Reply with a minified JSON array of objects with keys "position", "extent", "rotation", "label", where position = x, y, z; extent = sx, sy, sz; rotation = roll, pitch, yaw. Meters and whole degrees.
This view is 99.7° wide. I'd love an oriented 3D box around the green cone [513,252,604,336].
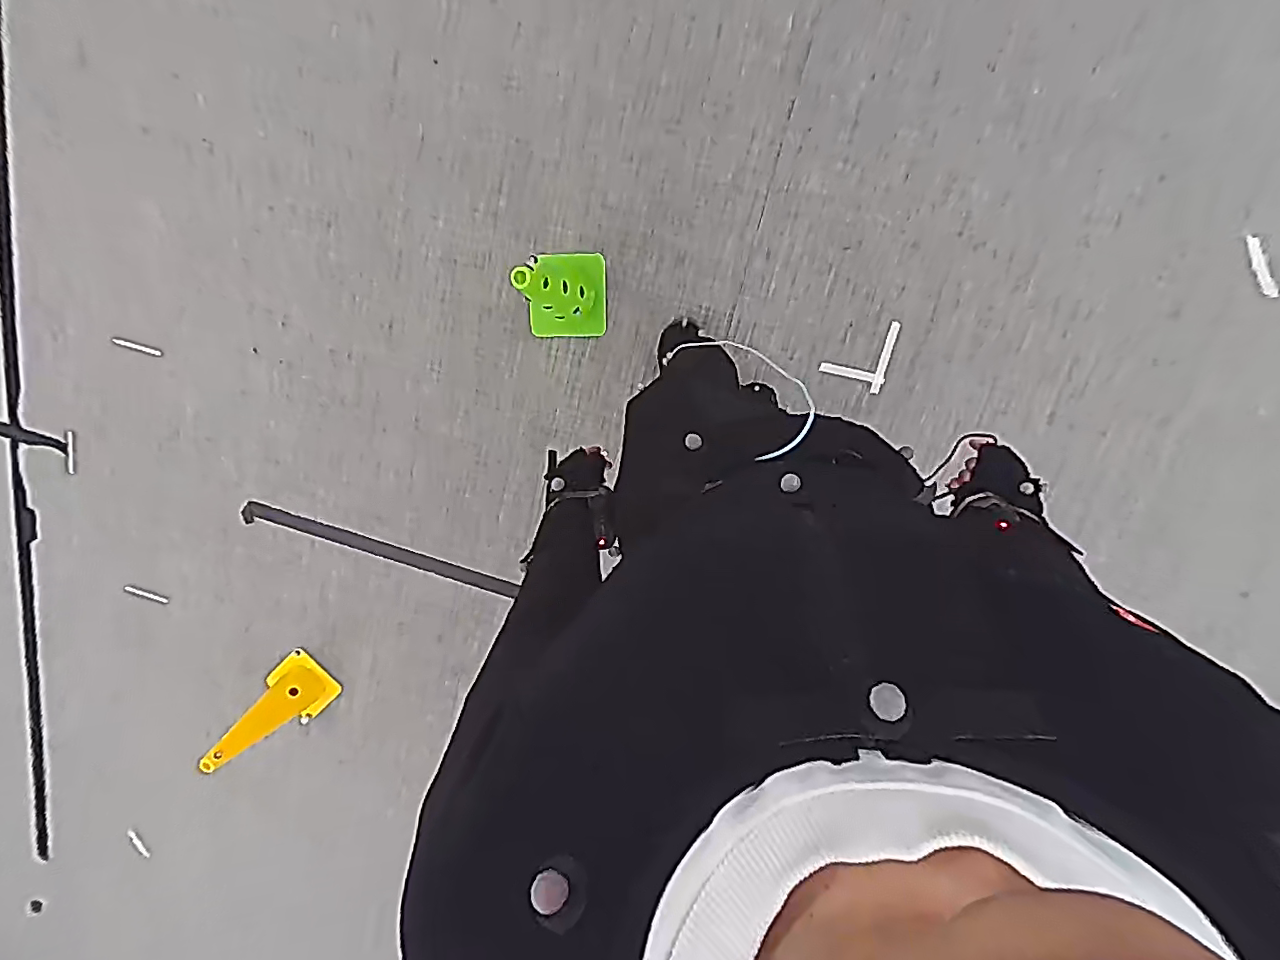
[{"position":[-0.210,-0.428,1.203],"extent":[0.202,0.368,0.200],"rotation":[1,104,6],"label":"green cone"}]
